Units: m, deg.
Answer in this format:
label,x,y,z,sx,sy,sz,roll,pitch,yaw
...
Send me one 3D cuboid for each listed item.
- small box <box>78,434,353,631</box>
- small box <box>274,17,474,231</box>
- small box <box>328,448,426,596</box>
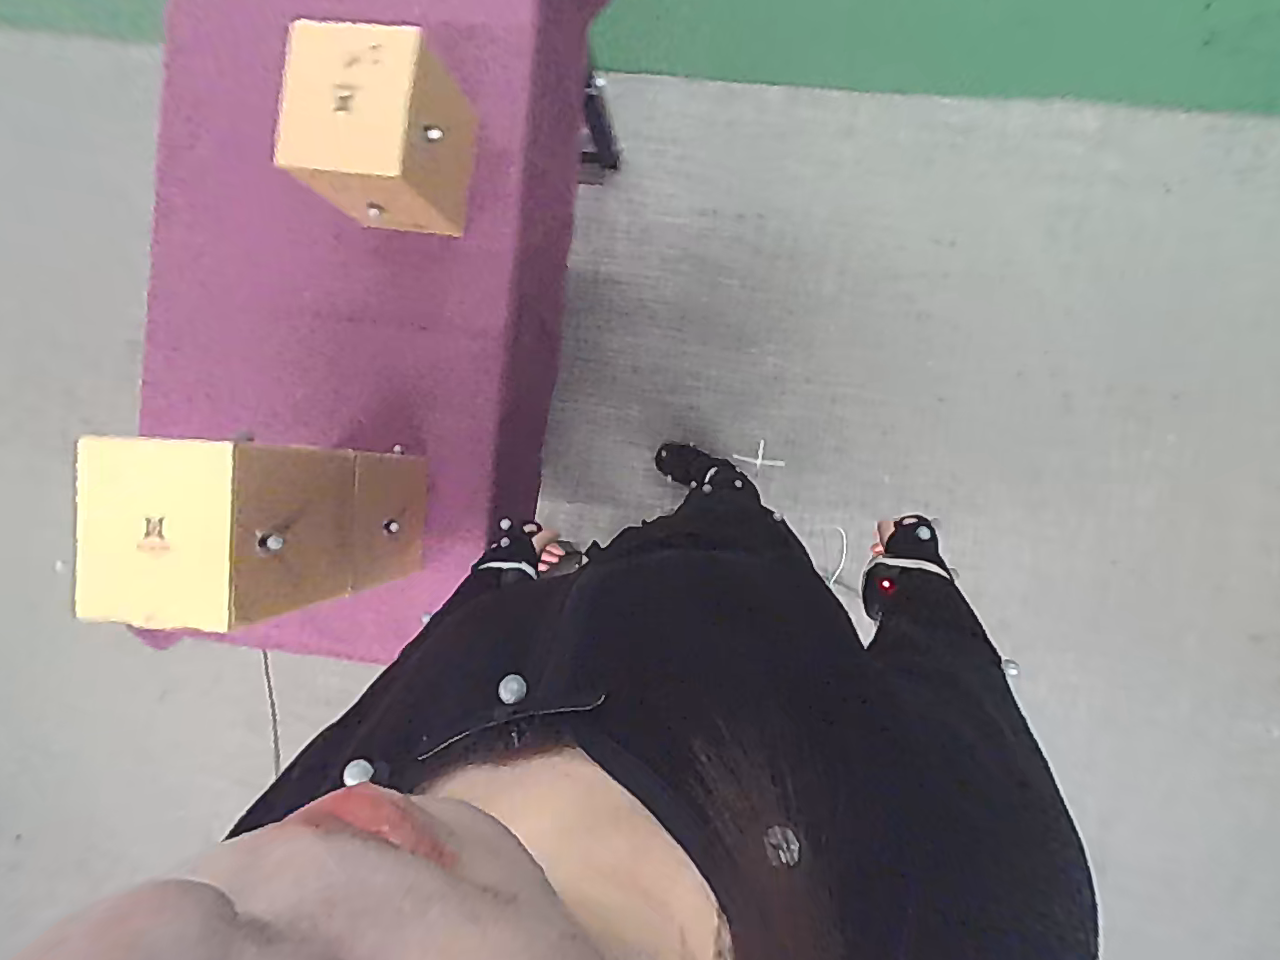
label,x,y,z,sx,sy,sz,roll,pitch,yaw
small box,-0.435,0.045,0.579,0.168,0.176,0.179,2,93,8
small box,-0.338,-0.455,0.716,0.168,0.176,0.179,10,93,7
small box,-0.412,0.046,0.740,0.168,0.176,0.179,4,93,8
